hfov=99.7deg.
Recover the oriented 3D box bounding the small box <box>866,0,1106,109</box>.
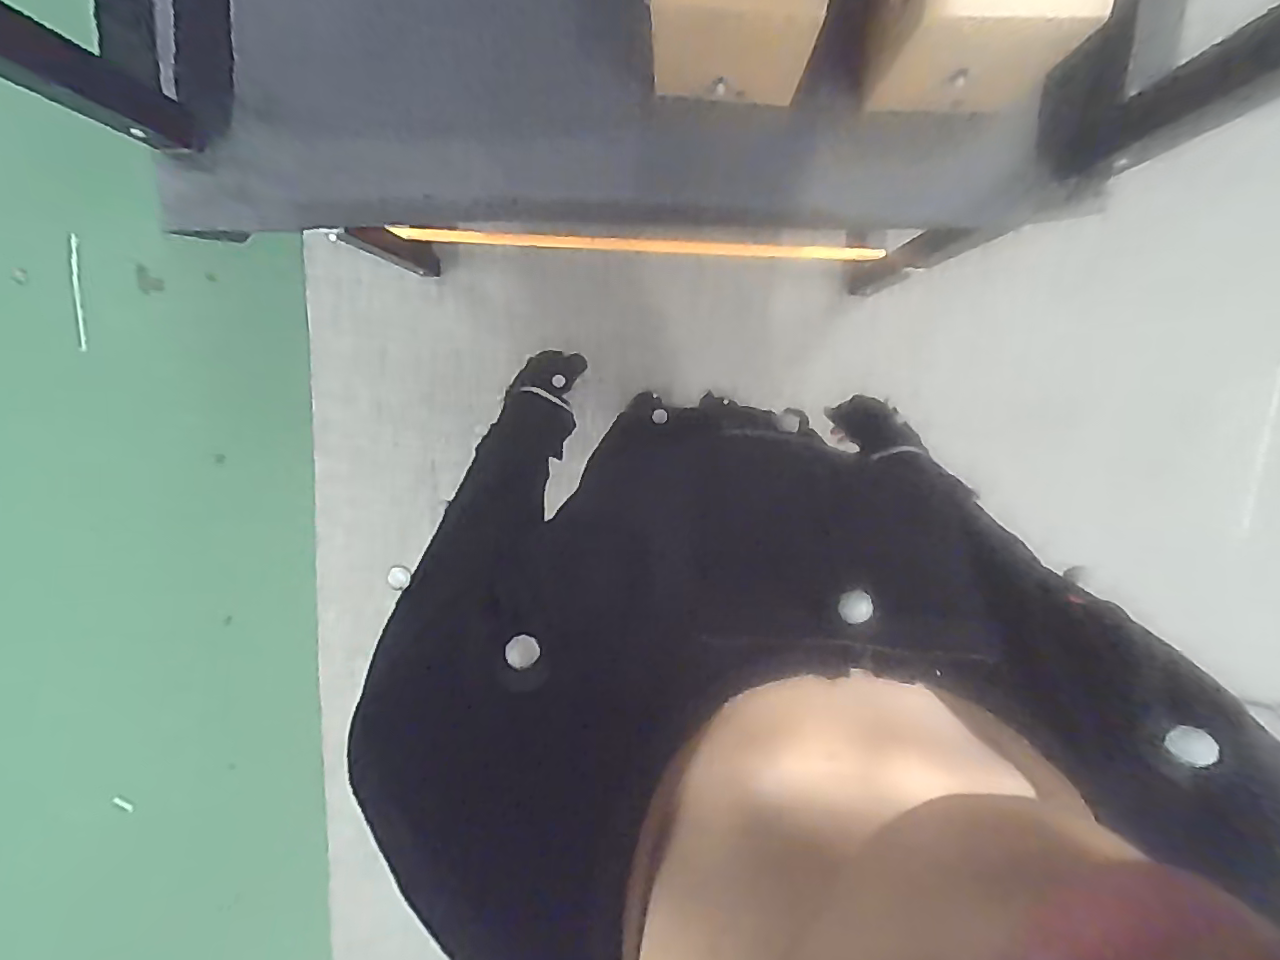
[{"bbox_3d":[0.349,-0.518,0.560,0.168,0.176,0.179,3,99,3],"label":"small box"}]
